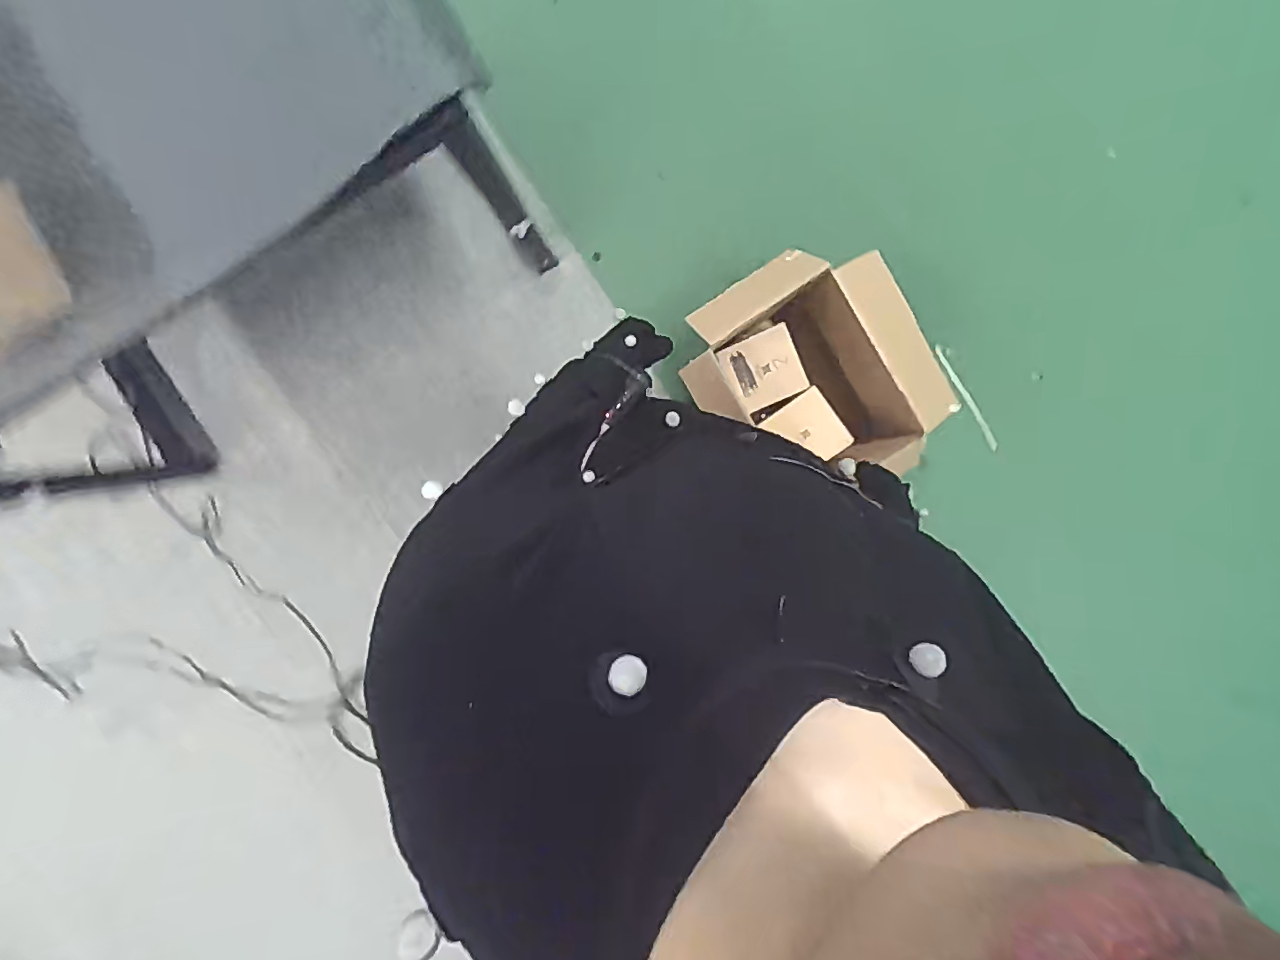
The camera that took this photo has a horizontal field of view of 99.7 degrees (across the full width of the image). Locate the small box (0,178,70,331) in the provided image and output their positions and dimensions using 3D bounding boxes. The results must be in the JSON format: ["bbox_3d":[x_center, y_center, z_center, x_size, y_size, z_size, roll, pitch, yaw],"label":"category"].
[{"bbox_3d":[-0.881,-0.294,0.655,0.168,0.176,0.179,-26,94,4],"label":"small box"}]
